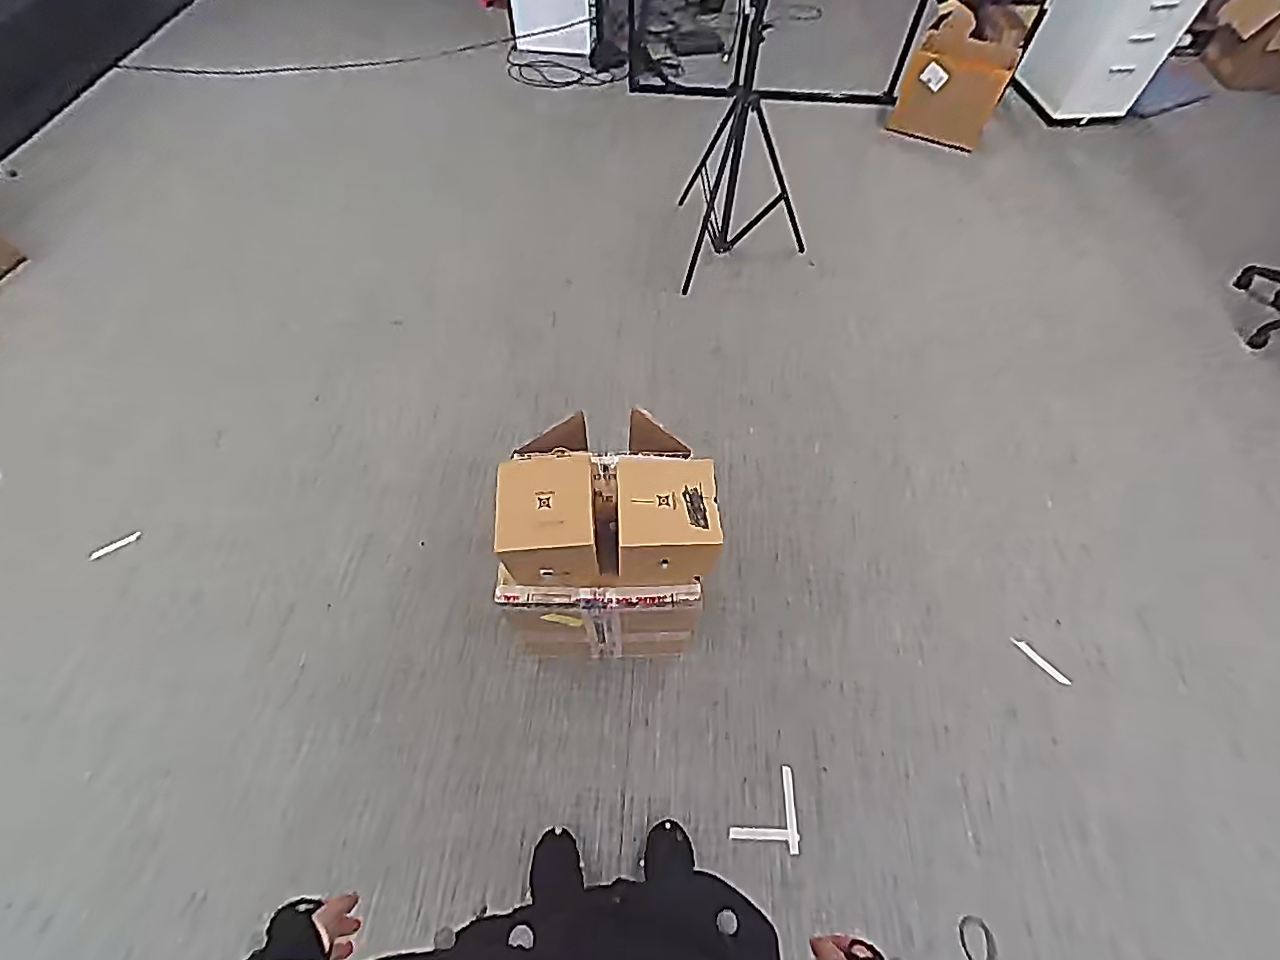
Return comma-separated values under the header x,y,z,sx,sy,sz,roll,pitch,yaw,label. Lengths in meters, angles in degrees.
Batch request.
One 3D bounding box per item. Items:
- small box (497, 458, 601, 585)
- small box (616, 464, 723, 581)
x,y,z,sx,sy,sz,roll,pitch,yaw,label
-0.162,0.080,1.000,0.168,0.176,0.179,-5,63,-2,small box
0.046,0.083,1.002,0.179,0.176,0.168,-2,61,-3,small box
